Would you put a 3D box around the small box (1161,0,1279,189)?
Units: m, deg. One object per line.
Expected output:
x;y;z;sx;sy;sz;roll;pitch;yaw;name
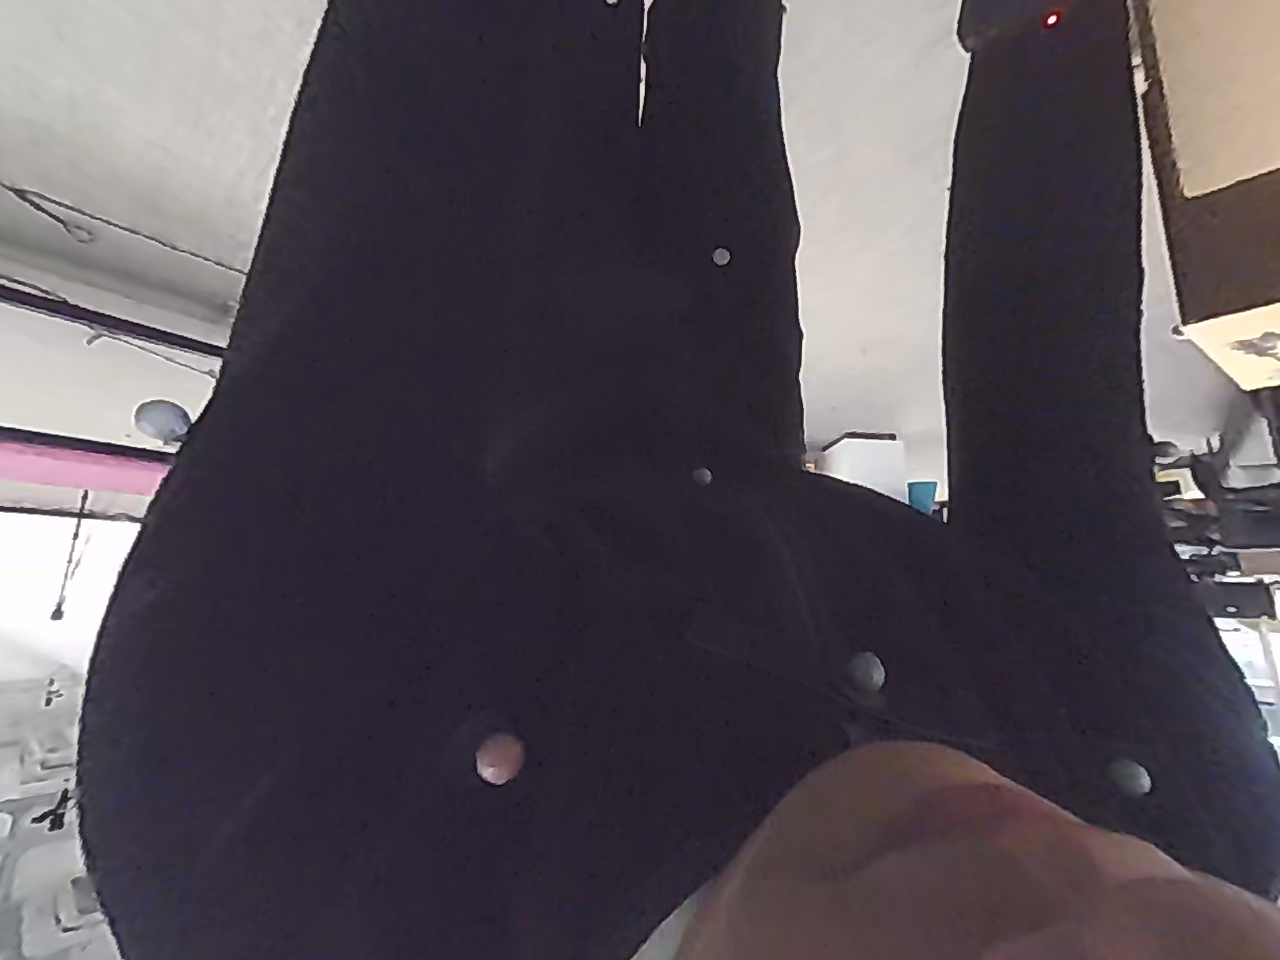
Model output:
0.222;-0.217;0.114;0.168;0.176;0.179;14;162;-40;small box

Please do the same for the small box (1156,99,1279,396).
0.435;-0.166;0.298;0.168;0.176;0.179;10;165;-32;small box
